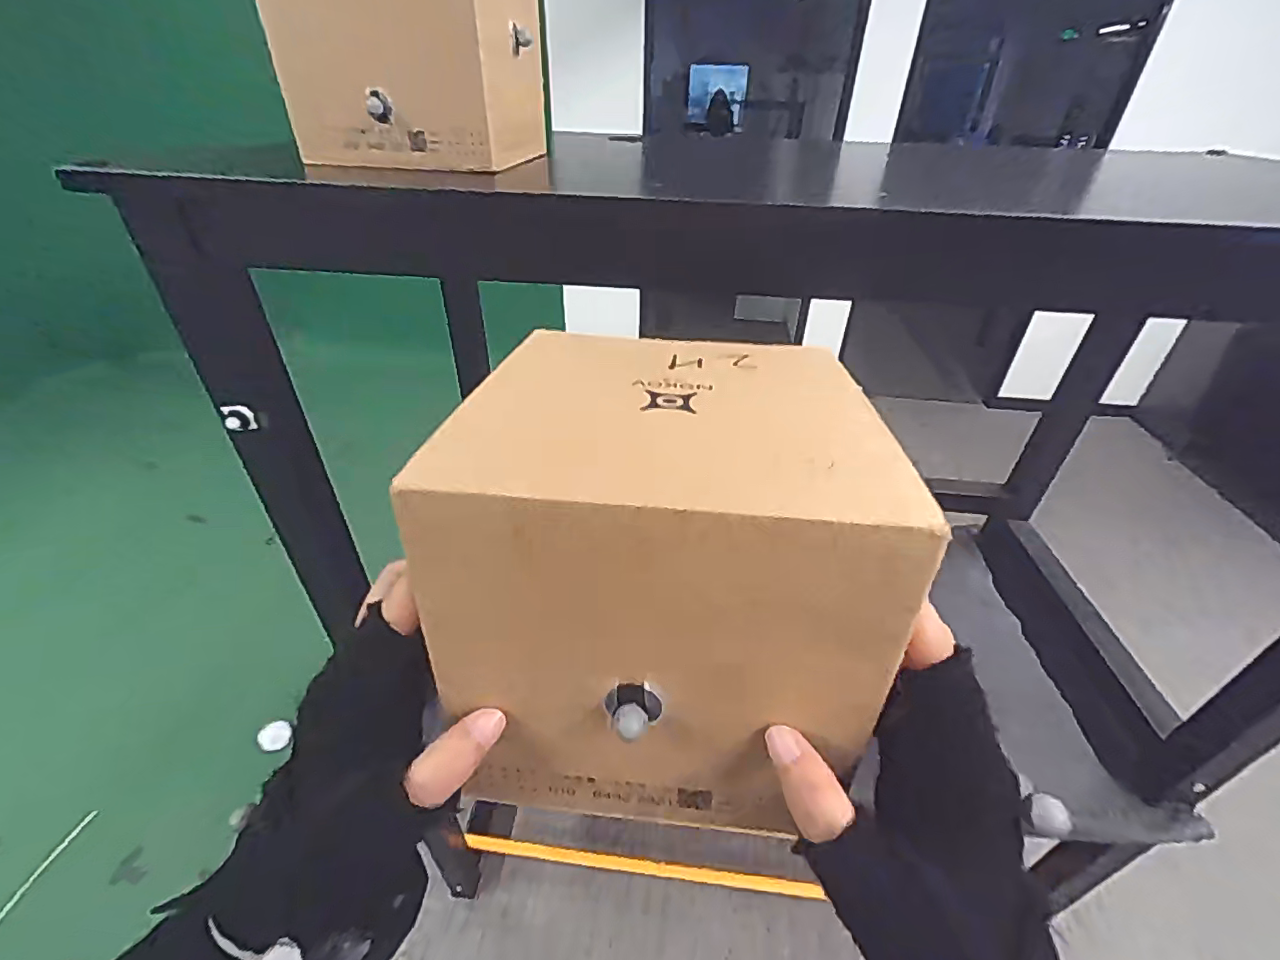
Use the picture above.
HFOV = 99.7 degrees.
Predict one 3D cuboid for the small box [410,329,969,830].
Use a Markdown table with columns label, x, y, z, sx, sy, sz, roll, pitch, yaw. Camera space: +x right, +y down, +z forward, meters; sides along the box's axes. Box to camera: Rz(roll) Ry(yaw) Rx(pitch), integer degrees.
| label | x | y | z | sx | sy | sz | roll | pitch | yaw |
| --- | --- | --- | --- | --- | --- | --- | --- | --- | --- |
| small box | 0.018 | 0.036 | 0.266 | 0.168 | 0.176 | 0.179 | 5 | 31 | 3 |
